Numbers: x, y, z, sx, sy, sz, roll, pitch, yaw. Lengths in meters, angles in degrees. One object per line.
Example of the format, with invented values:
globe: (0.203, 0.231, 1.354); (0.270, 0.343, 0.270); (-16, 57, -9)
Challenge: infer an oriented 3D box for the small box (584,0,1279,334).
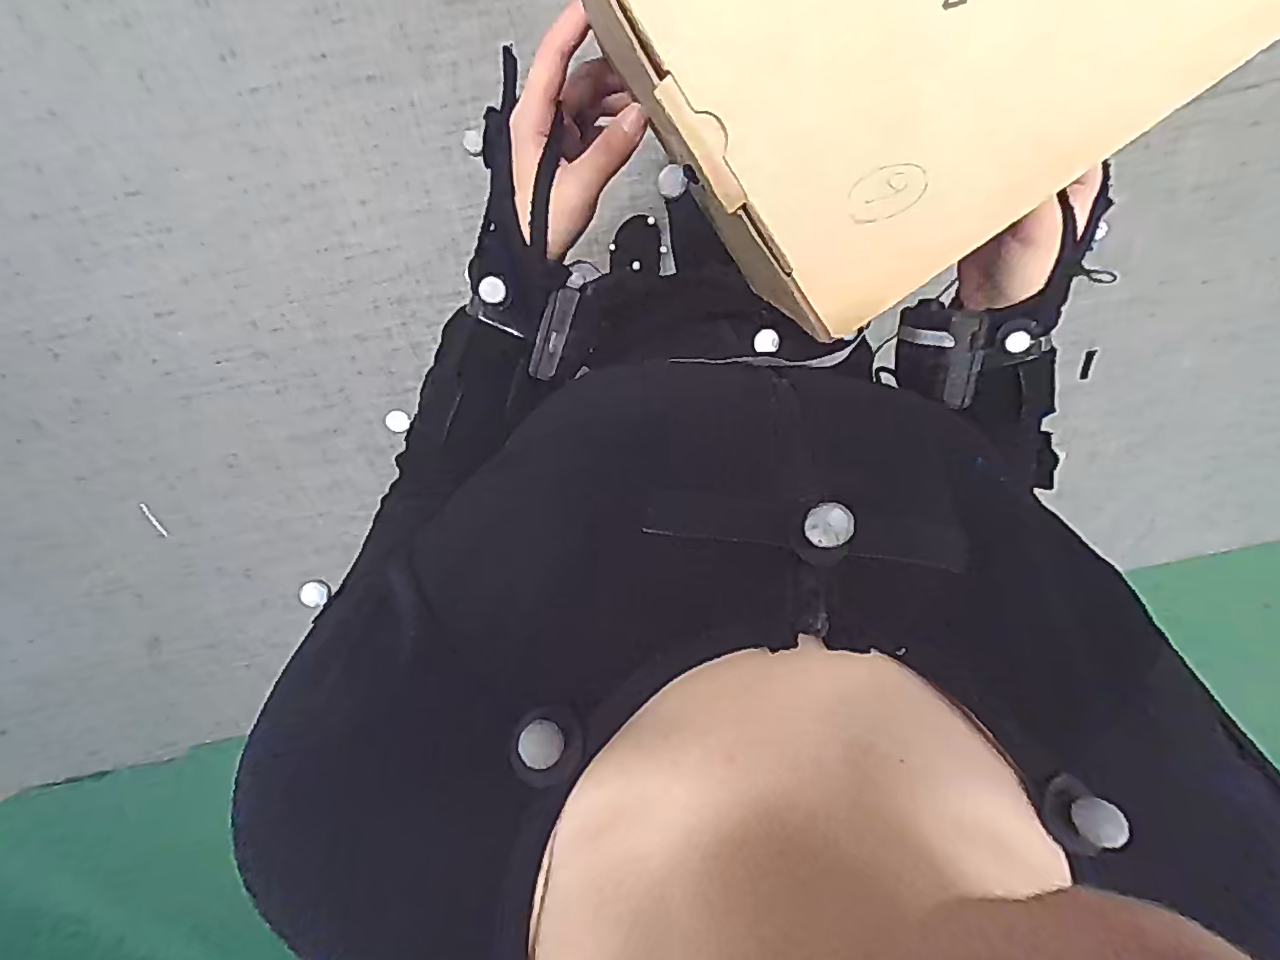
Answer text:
small box: (0.090, -0.190, 0.225); (0.179, 0.176, 0.168); (-34, 109, 18)
